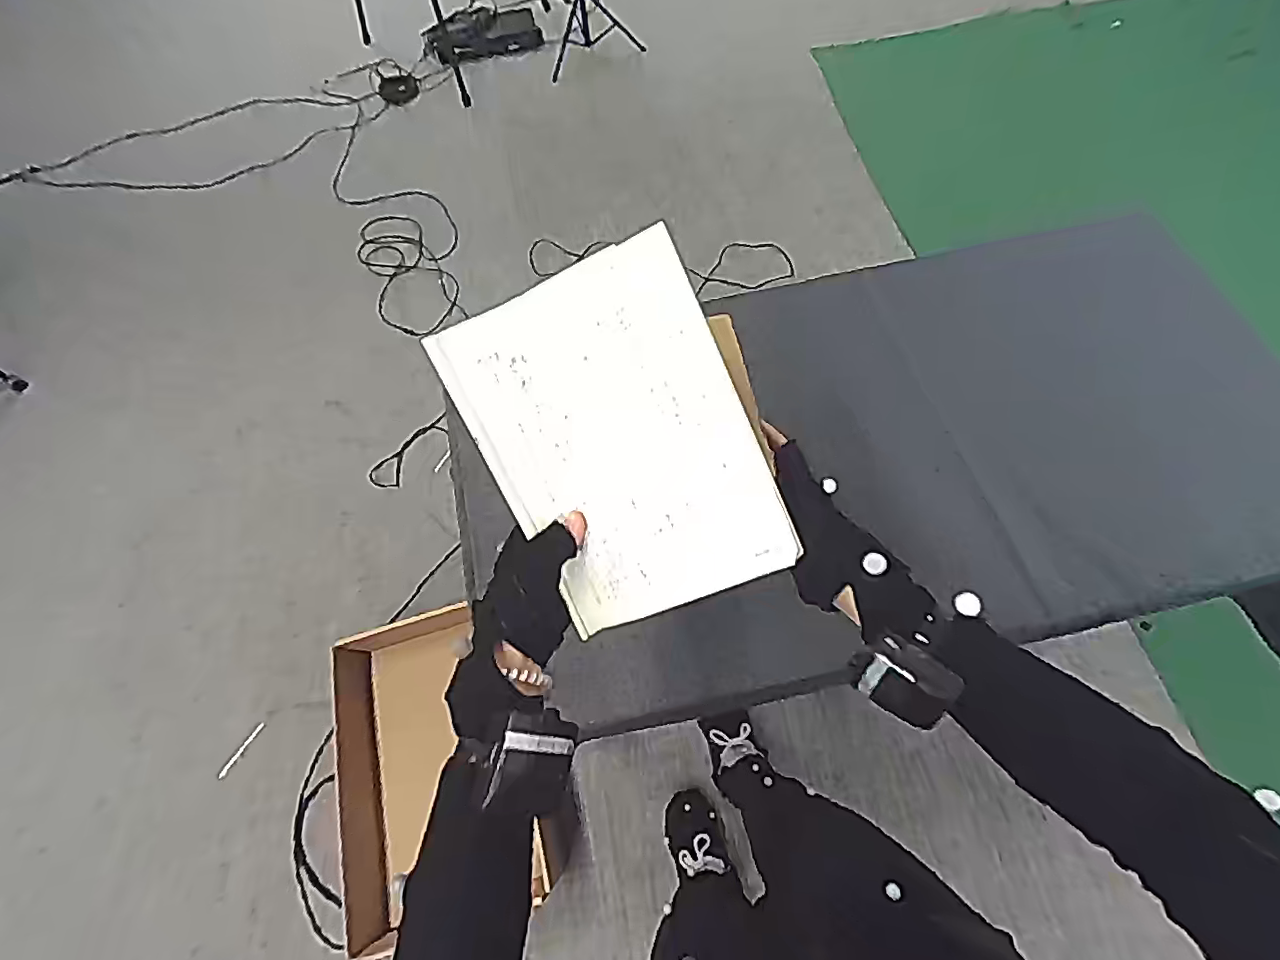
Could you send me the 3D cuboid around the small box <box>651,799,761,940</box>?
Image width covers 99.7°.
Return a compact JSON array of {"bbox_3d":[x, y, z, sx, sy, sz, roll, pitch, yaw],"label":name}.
[{"bbox_3d":[0.137,0.802,1.132,0.179,0.176,0.168,11,76,28],"label":"small box"}]
